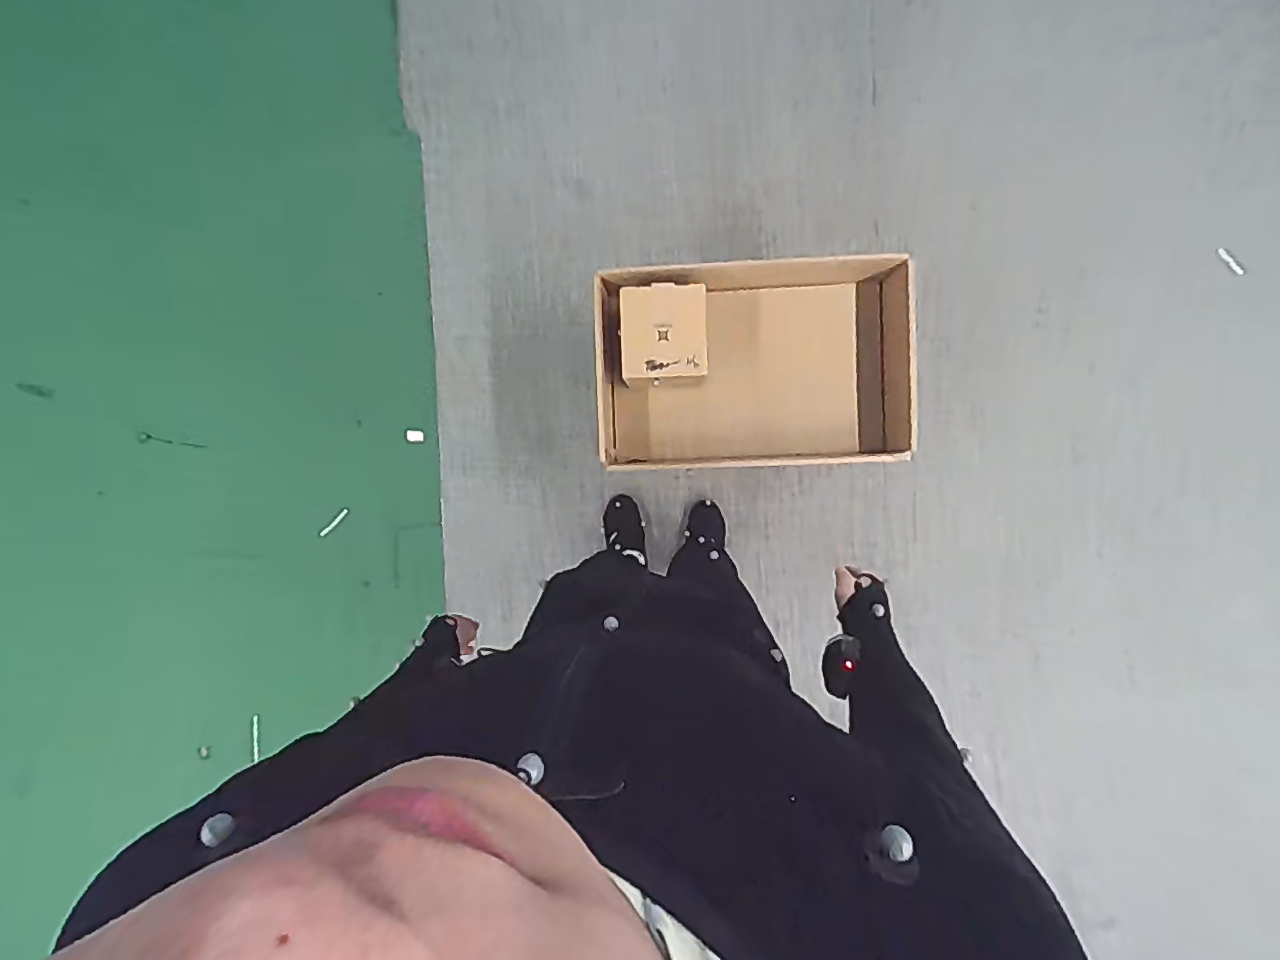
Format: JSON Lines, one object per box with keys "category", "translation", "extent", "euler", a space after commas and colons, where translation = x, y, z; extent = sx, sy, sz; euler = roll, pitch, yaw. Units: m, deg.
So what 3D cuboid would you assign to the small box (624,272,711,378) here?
{"category": "small box", "translation": [0.055, -0.307, 1.100], "extent": [0.168, 0.176, 0.179], "euler": [0, 93, 3]}
